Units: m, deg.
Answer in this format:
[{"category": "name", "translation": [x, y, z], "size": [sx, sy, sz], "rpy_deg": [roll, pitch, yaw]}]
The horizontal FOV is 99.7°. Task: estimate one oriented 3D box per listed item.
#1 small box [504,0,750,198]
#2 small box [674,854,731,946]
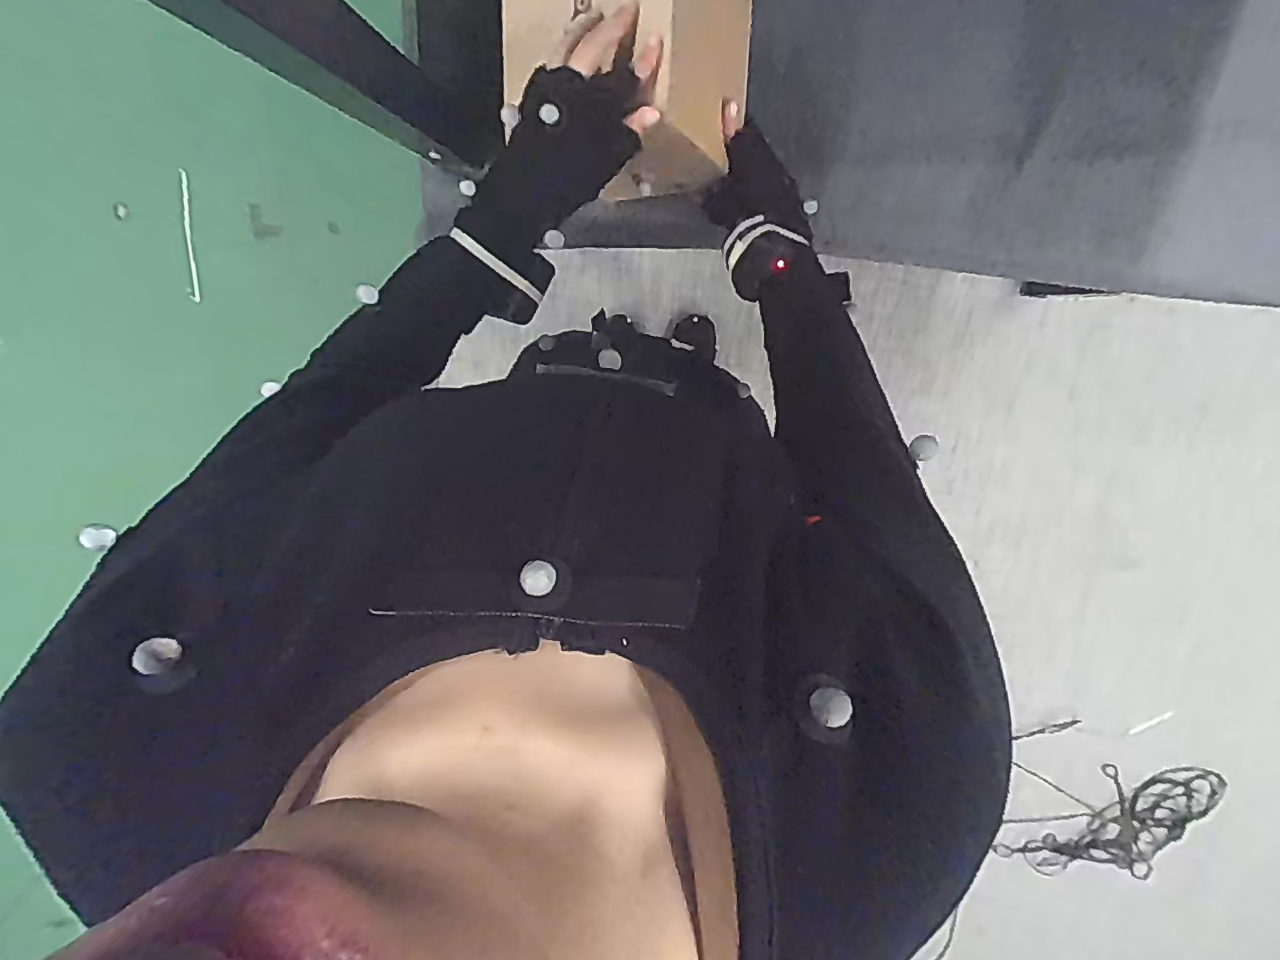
[{"category": "small box", "translation": [-0.005, -0.383, 0.496], "size": [0.168, 0.176, 0.179], "rpy_deg": [9, 104, 28]}, {"category": "small box", "translation": [0.212, 1.443, 1.863], "size": [0.168, 0.176, 0.179], "rpy_deg": [9, 107, 2]}]
